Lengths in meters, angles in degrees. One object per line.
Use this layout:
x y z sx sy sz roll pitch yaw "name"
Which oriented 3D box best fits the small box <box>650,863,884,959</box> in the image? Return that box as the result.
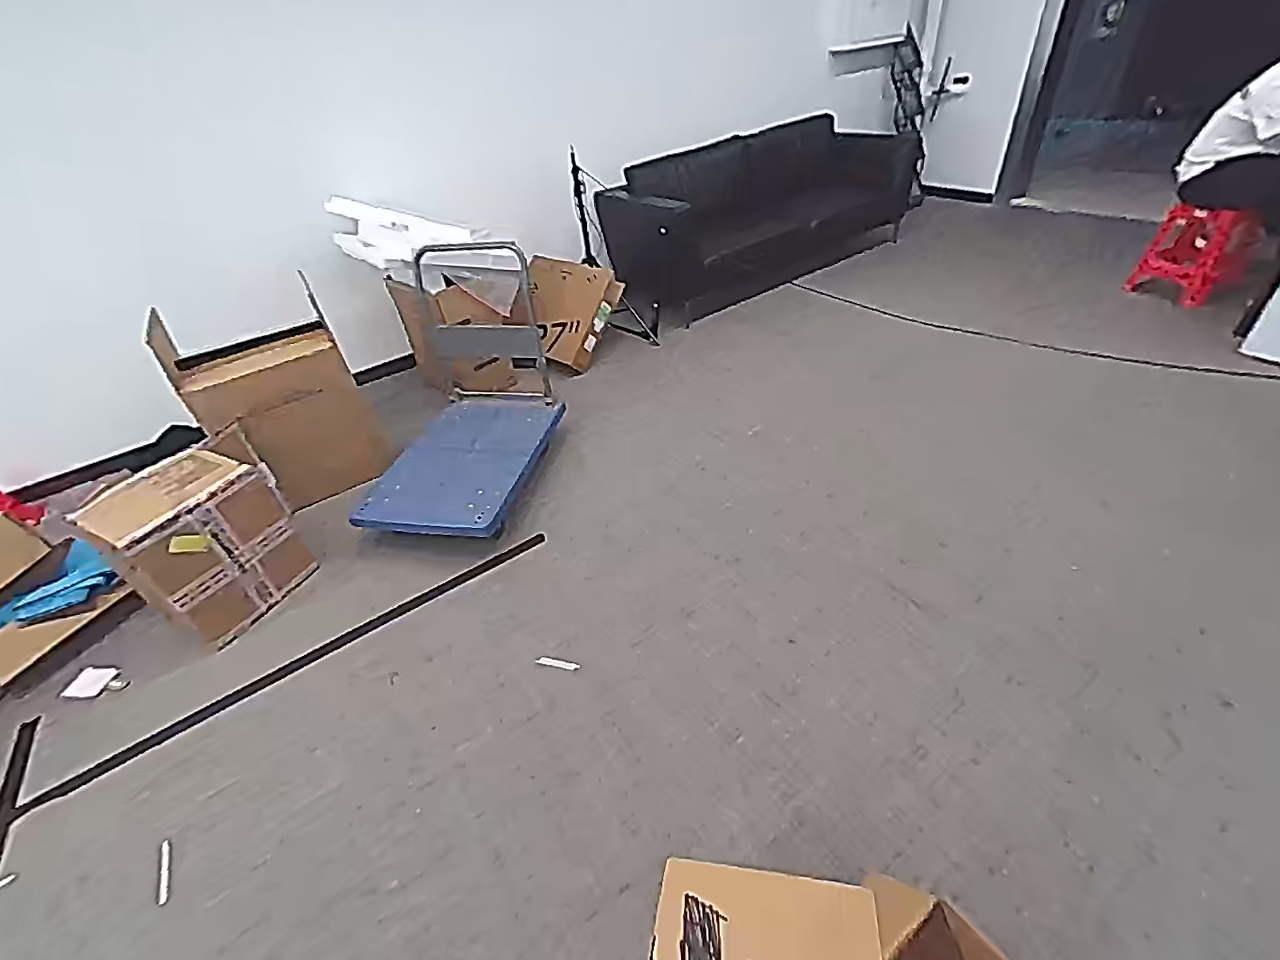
0.102 0.444 0.422 0.179 0.176 0.168 -3 27 16 "small box"
